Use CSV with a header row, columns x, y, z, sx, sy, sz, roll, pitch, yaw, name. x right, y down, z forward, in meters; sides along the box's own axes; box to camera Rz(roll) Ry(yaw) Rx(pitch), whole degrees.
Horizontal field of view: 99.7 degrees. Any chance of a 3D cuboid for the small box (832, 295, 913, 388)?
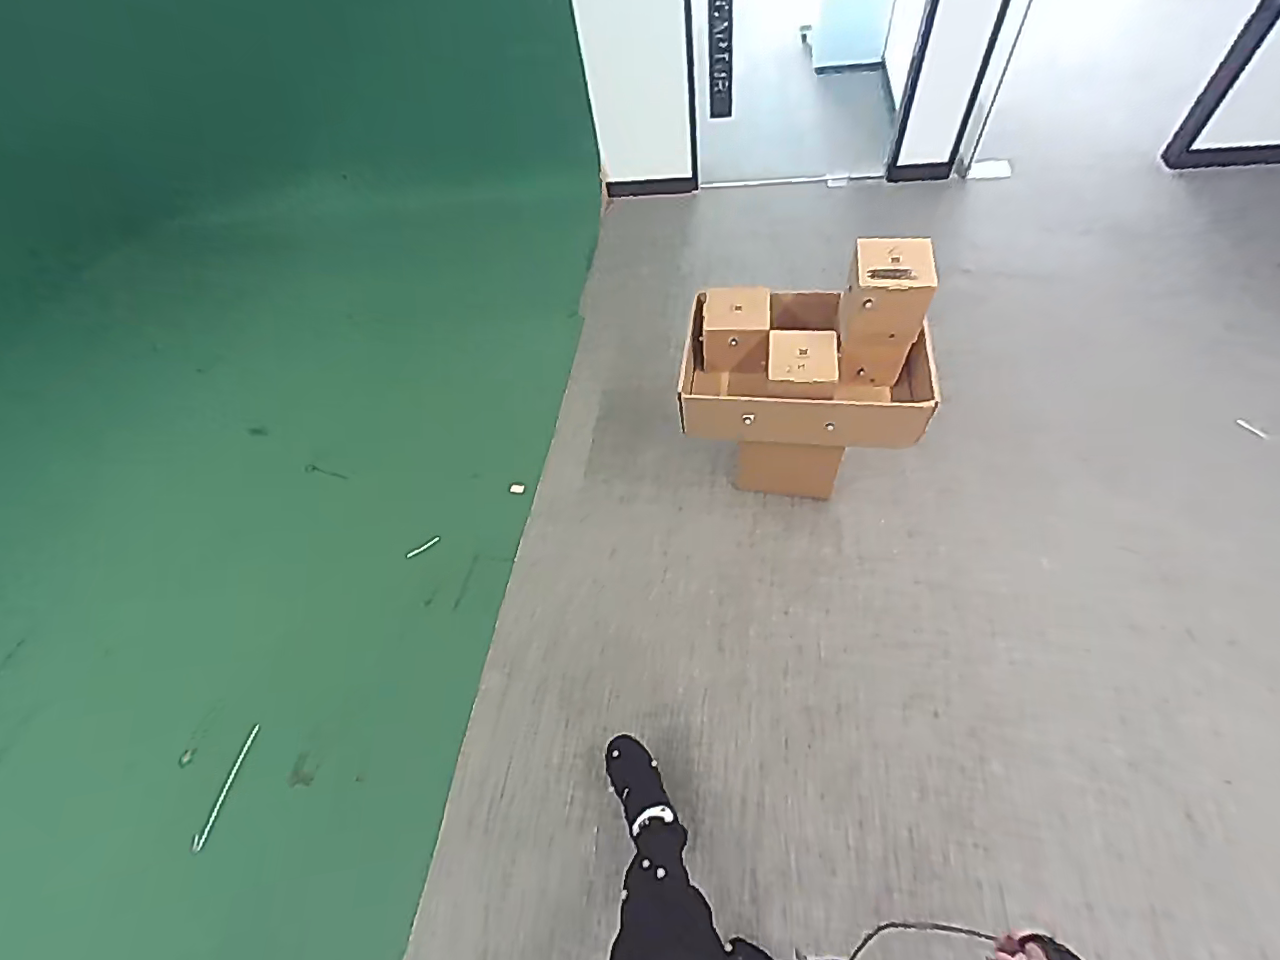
x,y,z,sx,sy,sz,roll,pitch,yaw,name
0.613,-0.370,1.448,0.168,0.176,0.179,5,59,11,small box
